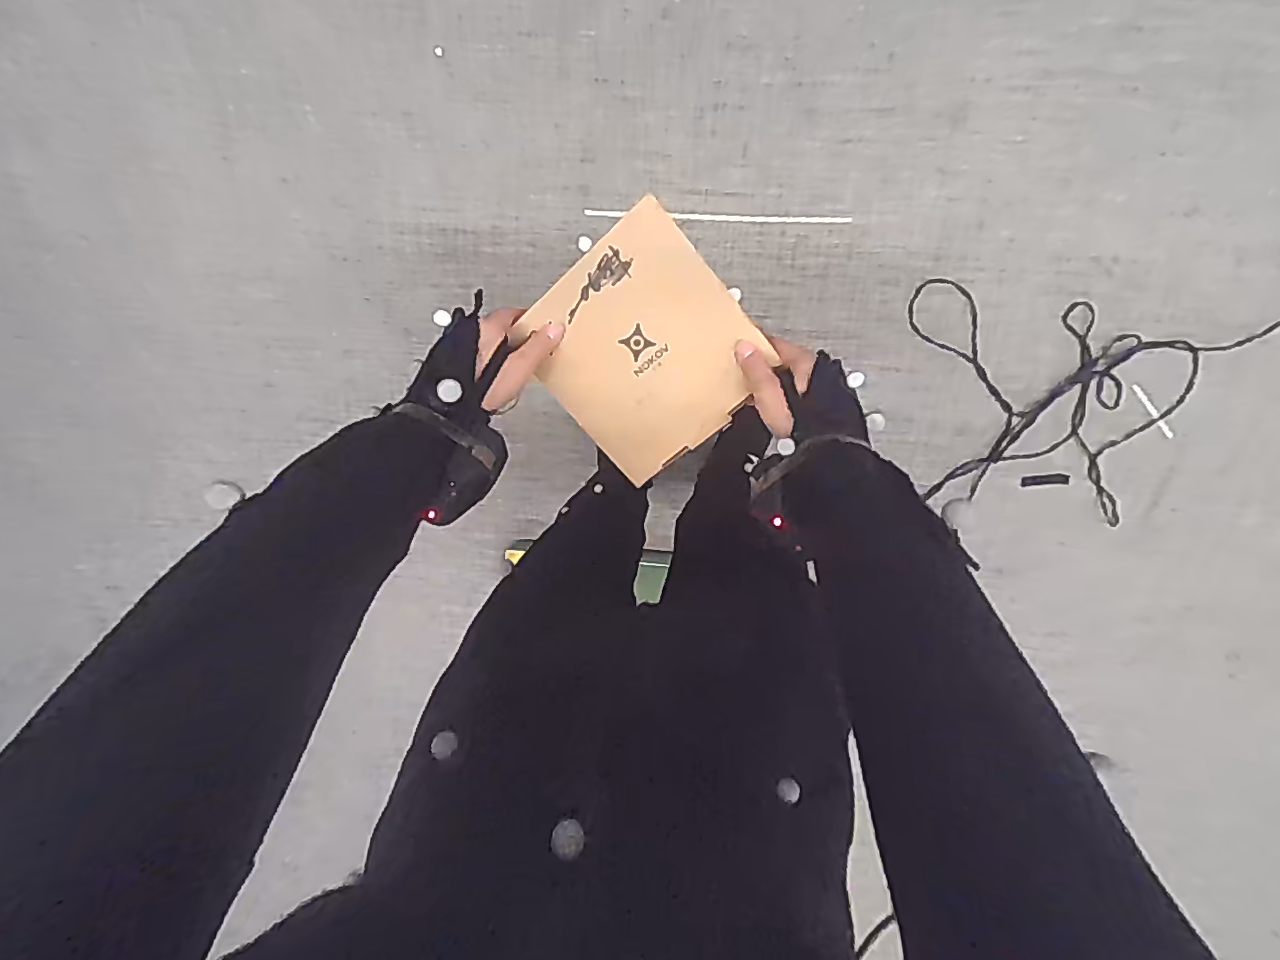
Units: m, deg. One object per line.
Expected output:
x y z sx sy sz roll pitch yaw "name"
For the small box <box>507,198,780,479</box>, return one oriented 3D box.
0.008 -0.136 0.527 0.168 0.176 0.179 -39 102 15 "small box"
